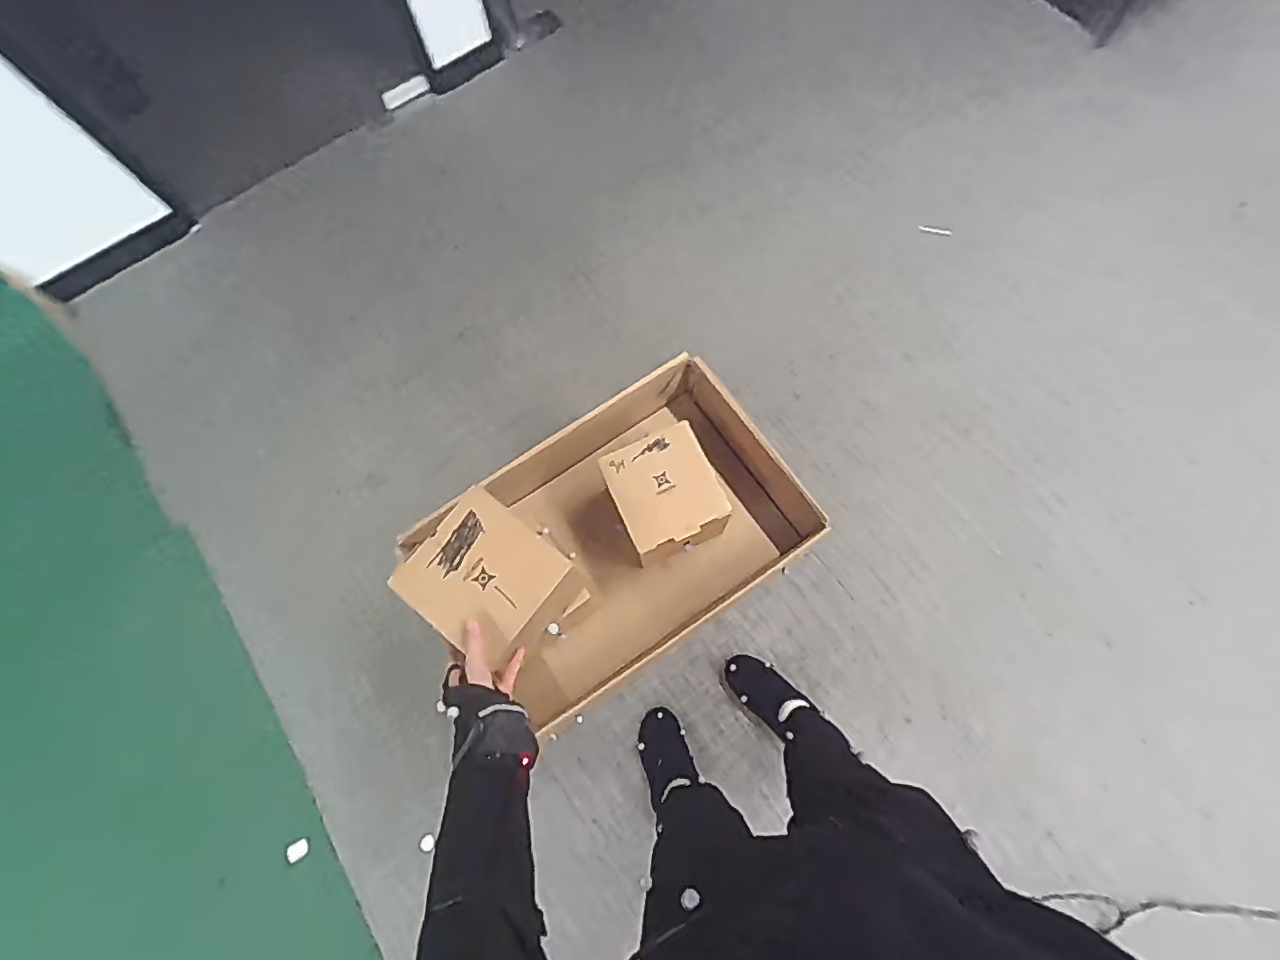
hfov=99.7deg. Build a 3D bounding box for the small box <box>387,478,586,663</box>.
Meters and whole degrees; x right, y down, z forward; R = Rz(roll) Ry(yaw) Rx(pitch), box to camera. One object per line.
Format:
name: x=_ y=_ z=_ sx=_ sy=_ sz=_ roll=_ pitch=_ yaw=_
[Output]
small box: x=-0.196 y=0.129 z=0.743 sx=0.179 sy=0.176 sz=0.168 roll=38 pitch=79 yaw=11
